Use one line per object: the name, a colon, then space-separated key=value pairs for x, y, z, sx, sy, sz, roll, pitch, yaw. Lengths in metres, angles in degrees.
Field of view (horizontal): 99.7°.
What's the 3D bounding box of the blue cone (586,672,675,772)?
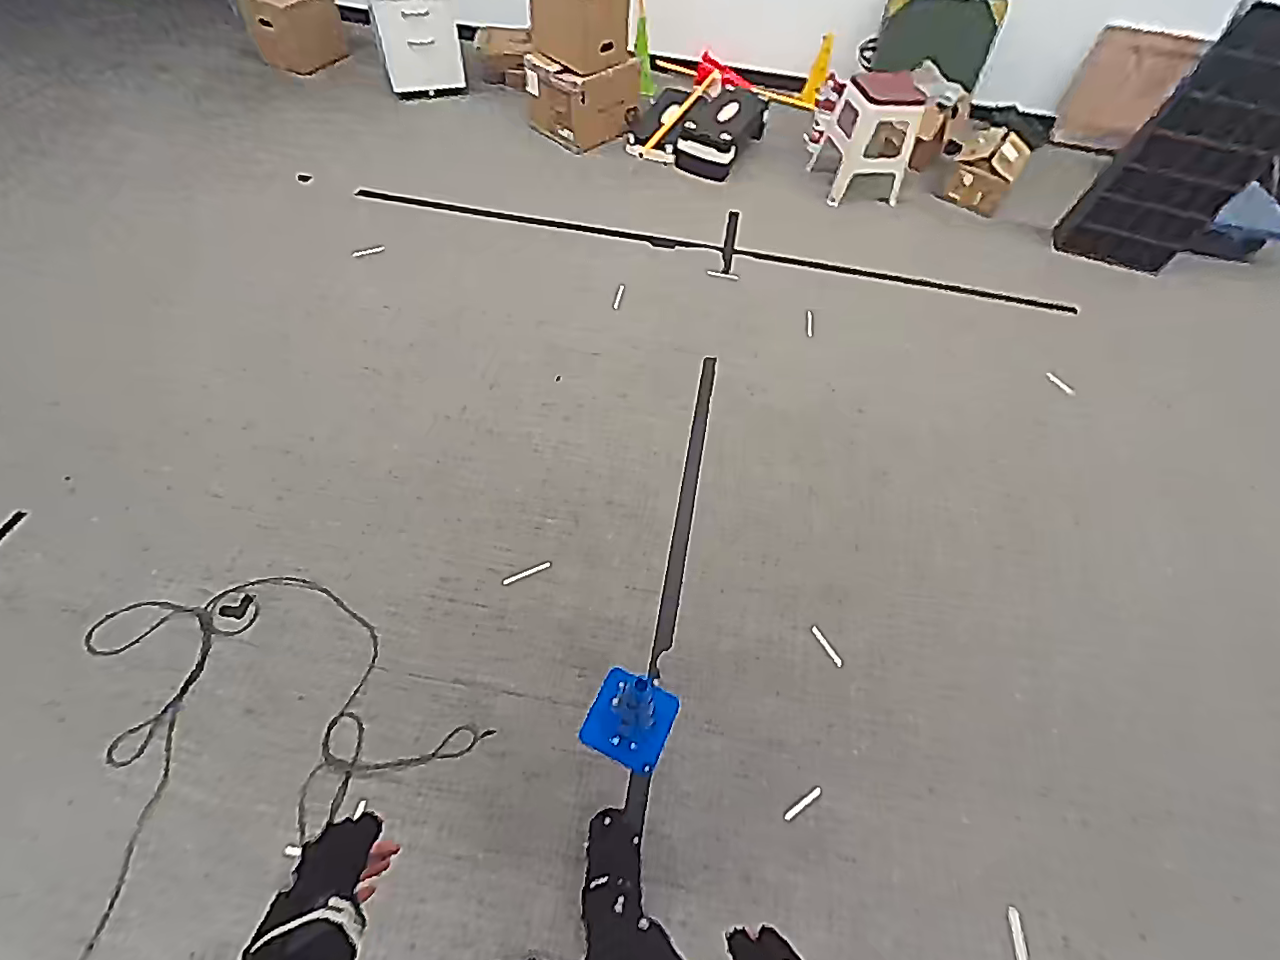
blue cone: x=-0.008 y=0.504 z=1.207 sx=0.192 sy=0.380 sz=0.193 roll=26 pitch=57 yaw=10
